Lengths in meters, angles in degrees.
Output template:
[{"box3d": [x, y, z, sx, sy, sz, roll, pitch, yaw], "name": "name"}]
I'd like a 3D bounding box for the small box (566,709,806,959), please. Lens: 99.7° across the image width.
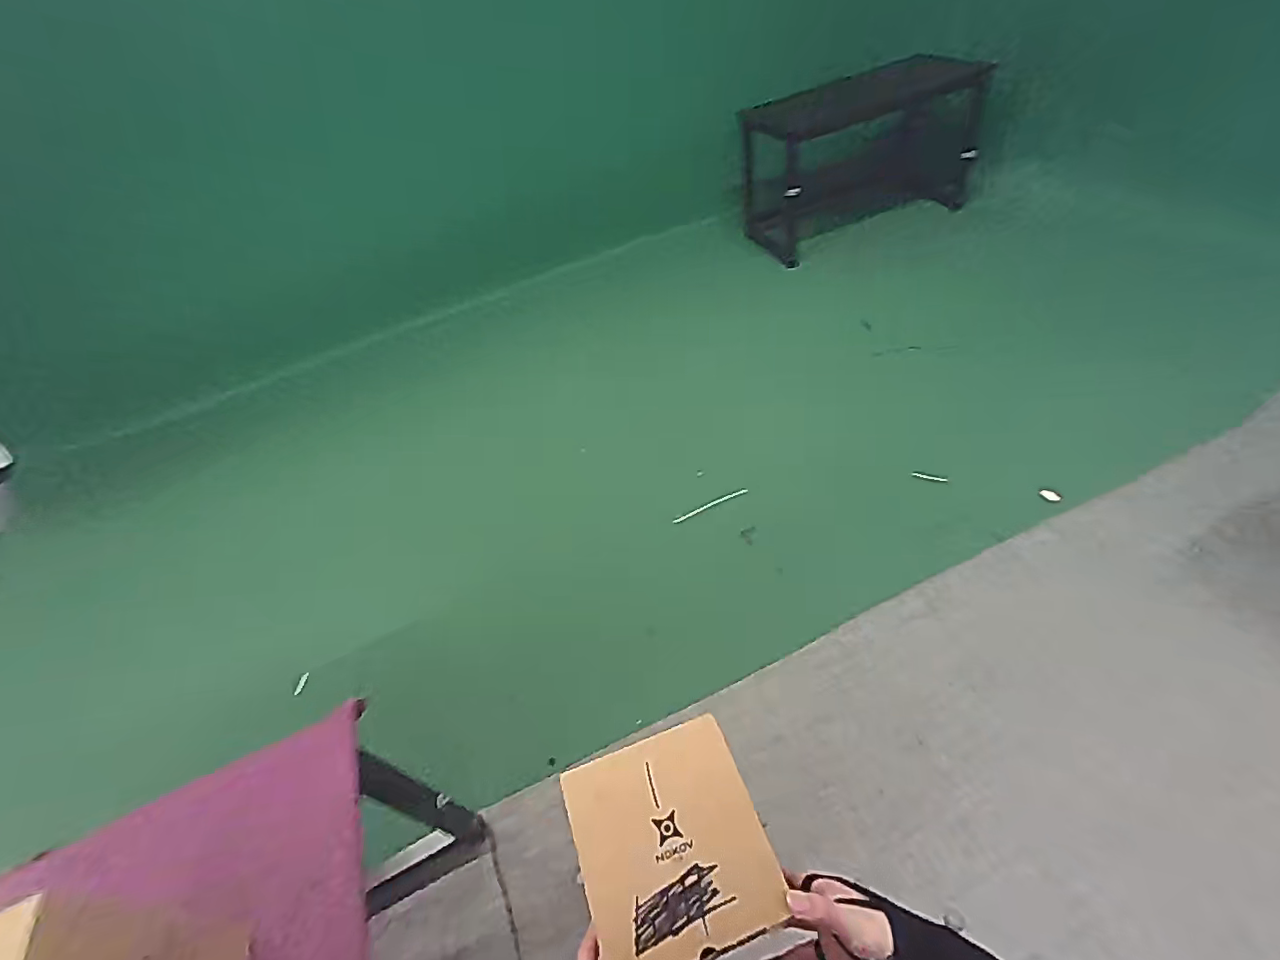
[{"box3d": [0.039, 0.363, 0.536, 0.168, 0.176, 0.179, -18, 51, -9], "name": "small box"}]
